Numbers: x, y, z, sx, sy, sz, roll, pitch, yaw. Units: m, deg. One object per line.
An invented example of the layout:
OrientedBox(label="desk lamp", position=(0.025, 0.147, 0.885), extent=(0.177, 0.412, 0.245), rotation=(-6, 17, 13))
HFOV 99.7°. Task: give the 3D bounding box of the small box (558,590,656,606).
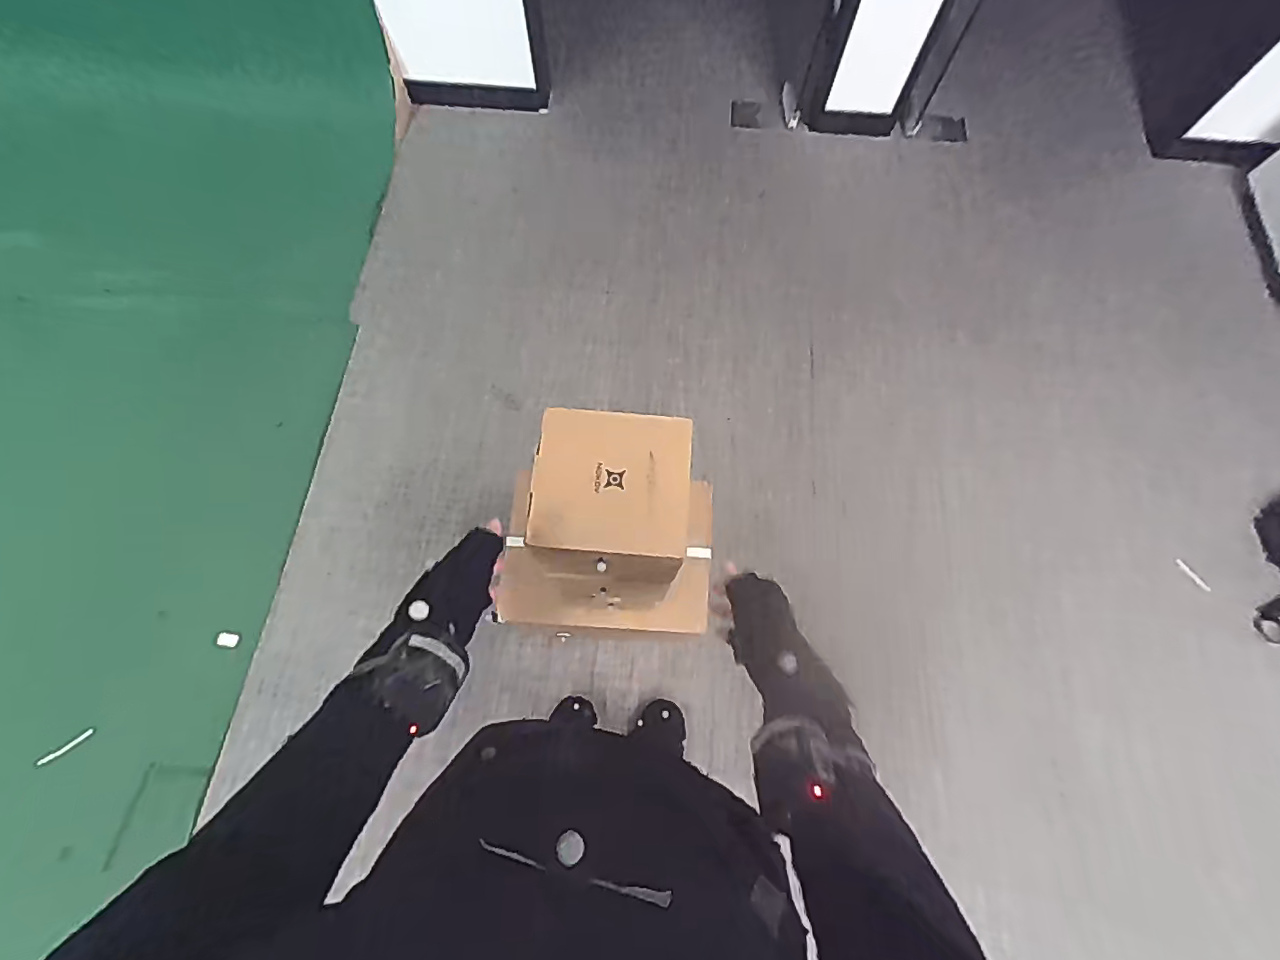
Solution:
OrientedBox(label="small box", position=(-0.050, 0.133, 0.983), extent=(0.168, 0.176, 0.179), rotation=(2, 71, 0))

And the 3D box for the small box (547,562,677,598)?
OrientedBox(label="small box", position=(-0.039, 0.086, 0.826), extent=(0.179, 0.176, 0.168), rotation=(2, 71, -1))

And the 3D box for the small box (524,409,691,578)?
OrientedBox(label="small box", position=(-0.034, 0.025, 0.676), extent=(0.179, 0.176, 0.168), rotation=(4, 72, -1))
